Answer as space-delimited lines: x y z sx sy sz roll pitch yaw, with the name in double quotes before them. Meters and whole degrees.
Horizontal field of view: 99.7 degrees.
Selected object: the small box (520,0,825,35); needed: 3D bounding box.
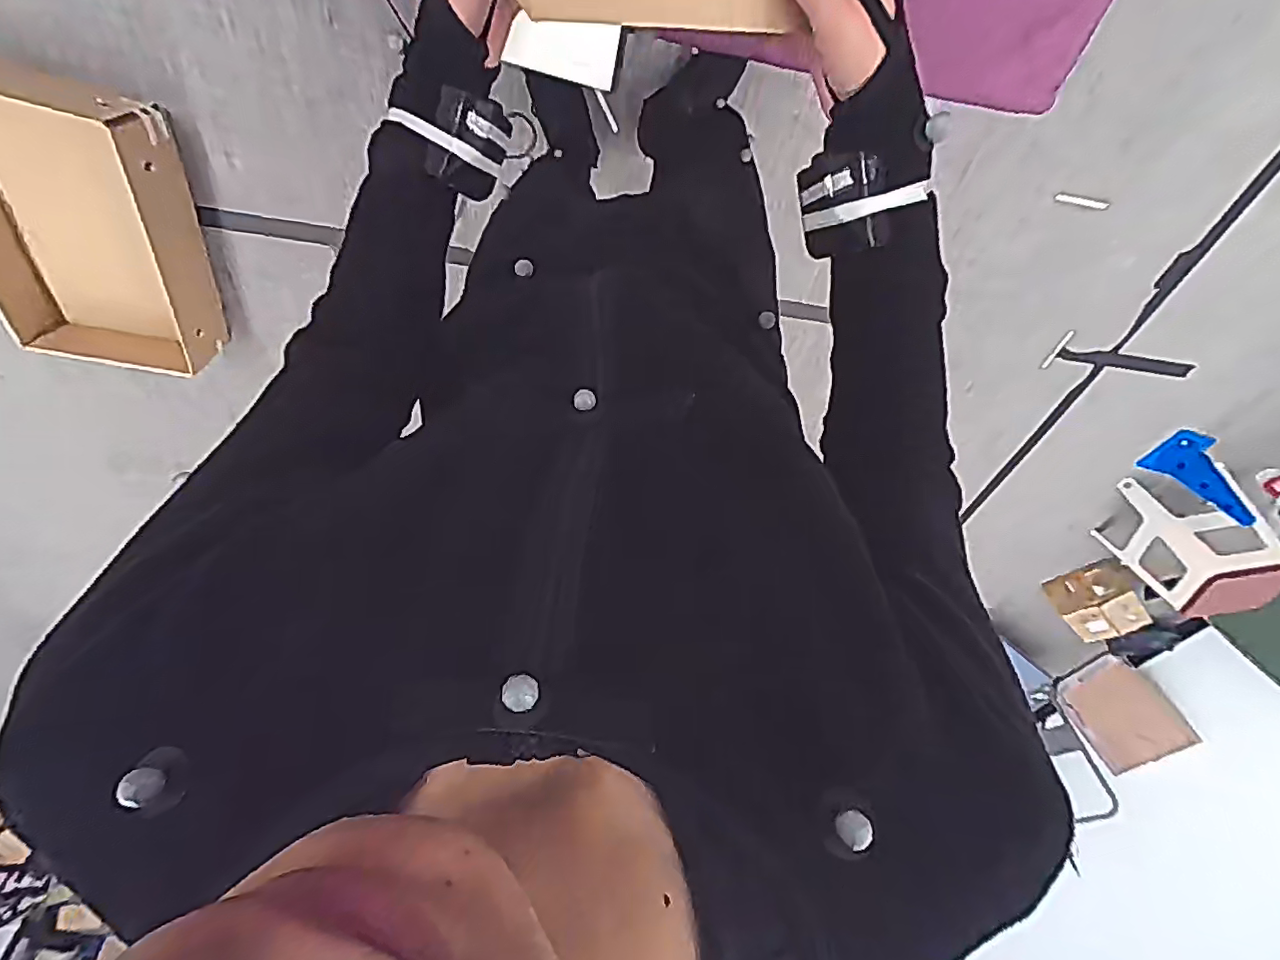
"small box" 0.008 -0.365 0.288 0.179 0.176 0.168 -9 143 -14
